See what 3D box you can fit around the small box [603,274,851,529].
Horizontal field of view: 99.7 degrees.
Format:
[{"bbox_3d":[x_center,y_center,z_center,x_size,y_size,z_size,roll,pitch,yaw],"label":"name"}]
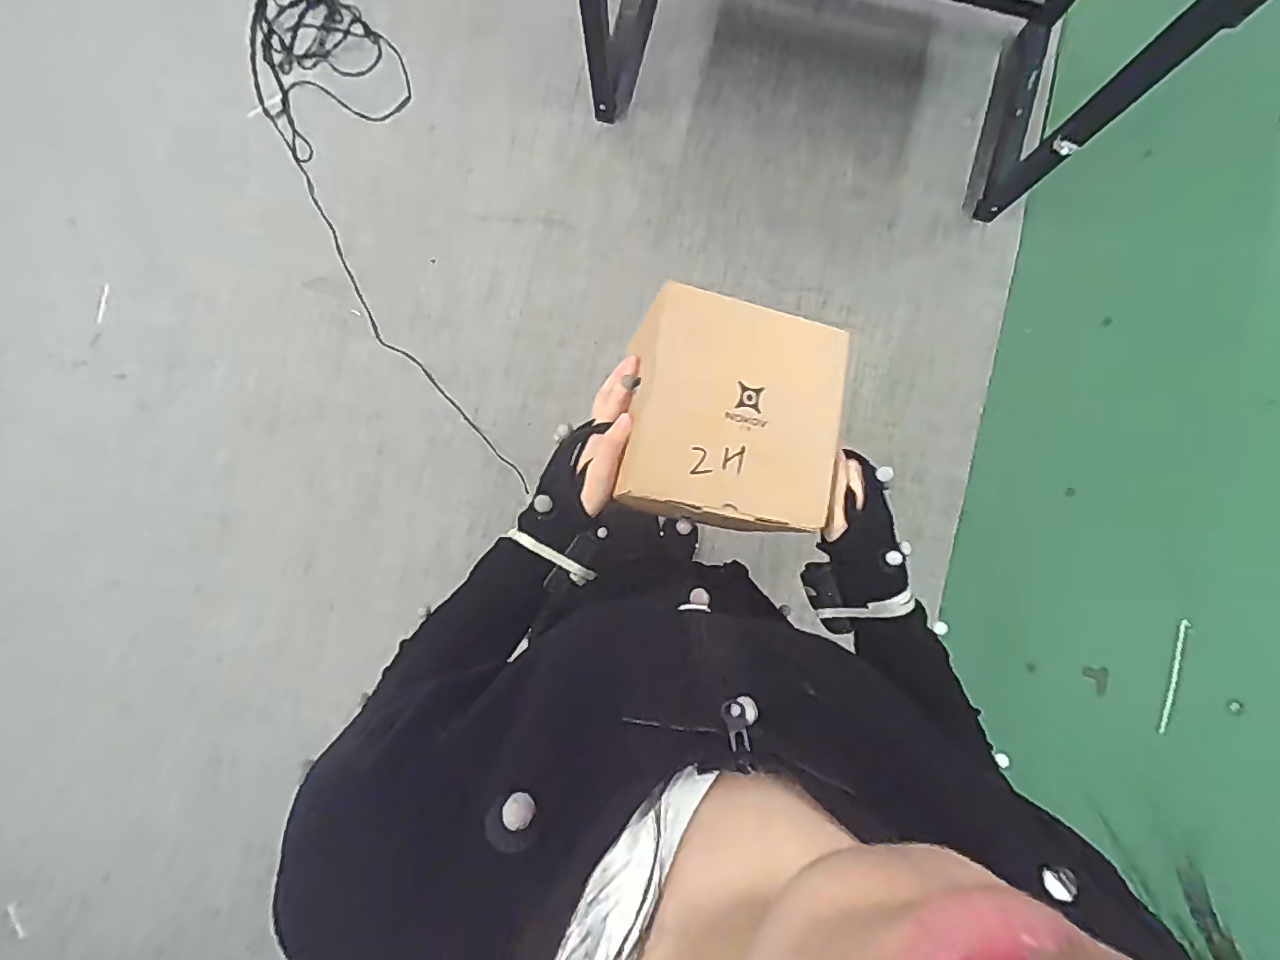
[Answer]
[{"bbox_3d":[0.068,-0.054,0.505,0.168,0.176,0.179,12,82,-11],"label":"small box"}]
